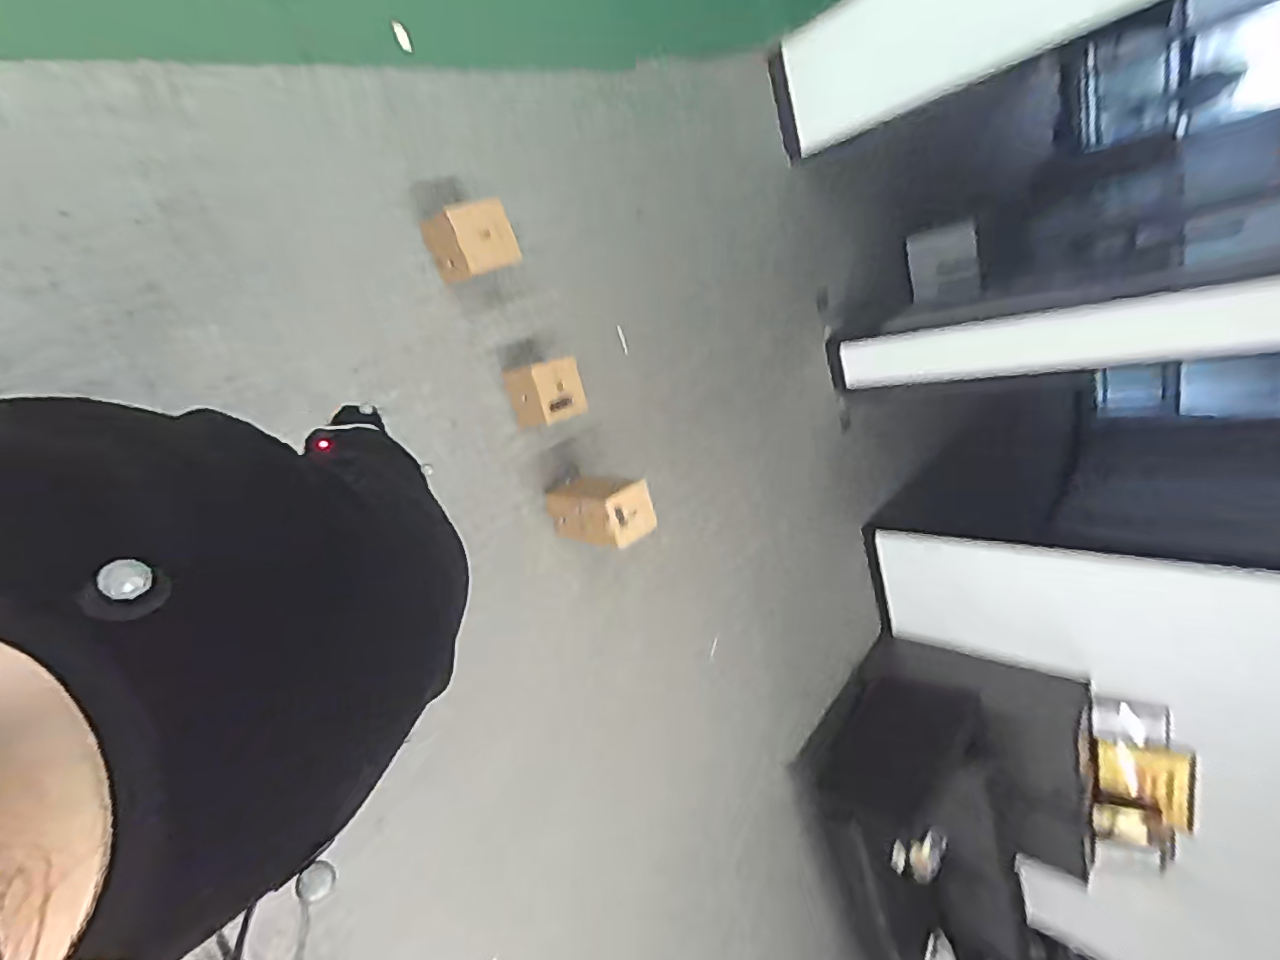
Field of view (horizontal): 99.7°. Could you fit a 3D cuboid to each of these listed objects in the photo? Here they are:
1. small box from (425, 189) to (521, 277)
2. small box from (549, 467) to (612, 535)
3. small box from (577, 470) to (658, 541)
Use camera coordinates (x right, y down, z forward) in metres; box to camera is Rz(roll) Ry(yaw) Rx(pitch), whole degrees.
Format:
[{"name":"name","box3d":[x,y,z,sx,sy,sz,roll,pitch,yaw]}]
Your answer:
[{"name":"small box","box3d":[-0.469,-0.680,1.500,0.179,0.176,0.168,-37,117,-36]},{"name":"small box","box3d":[-0.185,0.065,1.813,0.179,0.176,0.168,-32,114,-36]},{"name":"small box","box3d":[-0.077,0.074,1.689,0.179,0.176,0.168,-31,113,-38]}]
